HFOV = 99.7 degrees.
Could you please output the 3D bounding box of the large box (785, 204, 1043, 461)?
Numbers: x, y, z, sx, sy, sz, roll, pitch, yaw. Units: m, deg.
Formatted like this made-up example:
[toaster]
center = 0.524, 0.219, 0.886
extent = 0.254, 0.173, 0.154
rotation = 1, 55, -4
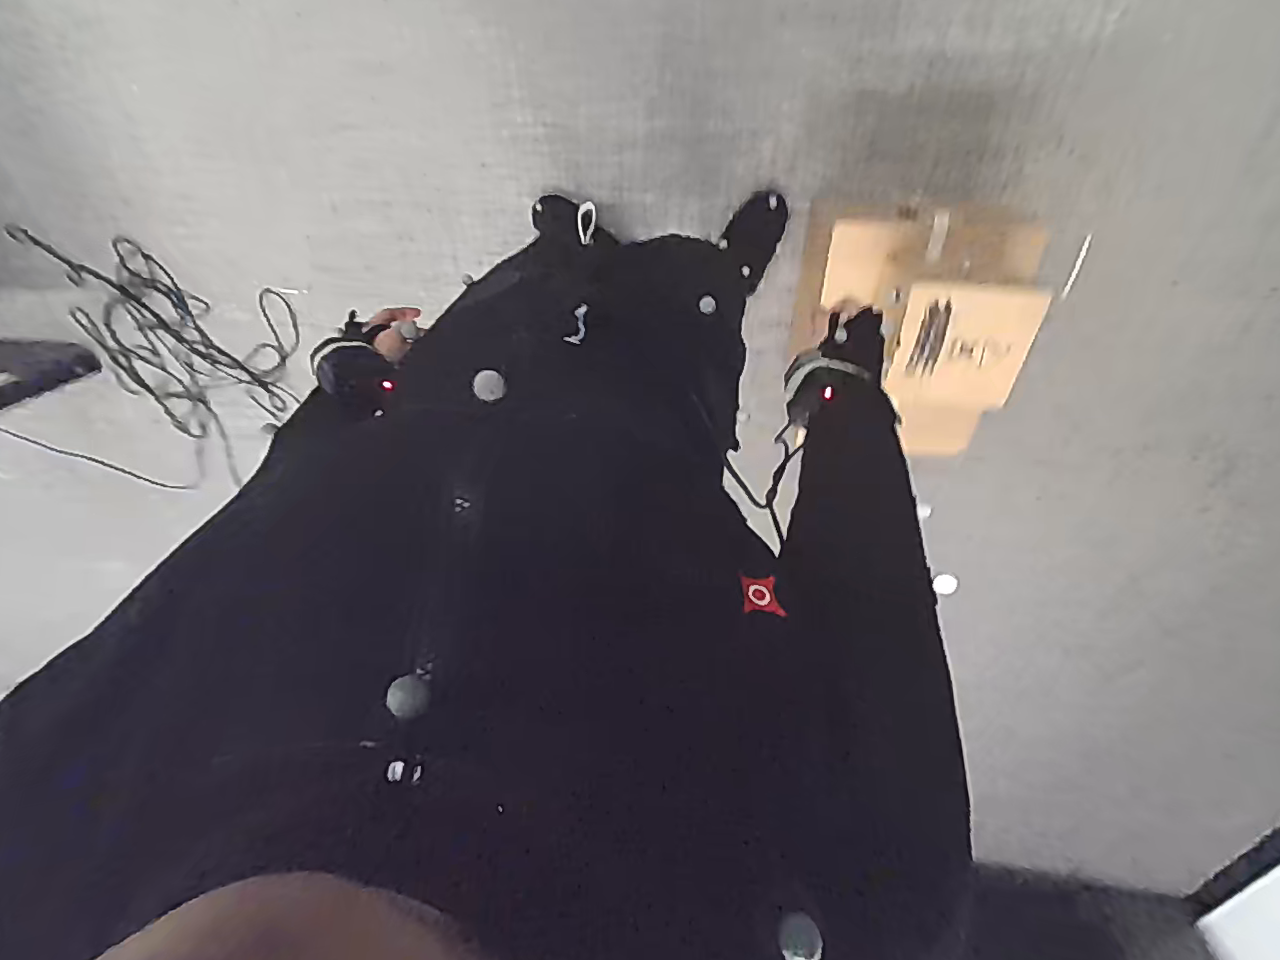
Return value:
[large box]
center = 0.472, -0.292, 1.046
extent = 0.320, 0.320, 0.408
rotation = 5, 125, 8
